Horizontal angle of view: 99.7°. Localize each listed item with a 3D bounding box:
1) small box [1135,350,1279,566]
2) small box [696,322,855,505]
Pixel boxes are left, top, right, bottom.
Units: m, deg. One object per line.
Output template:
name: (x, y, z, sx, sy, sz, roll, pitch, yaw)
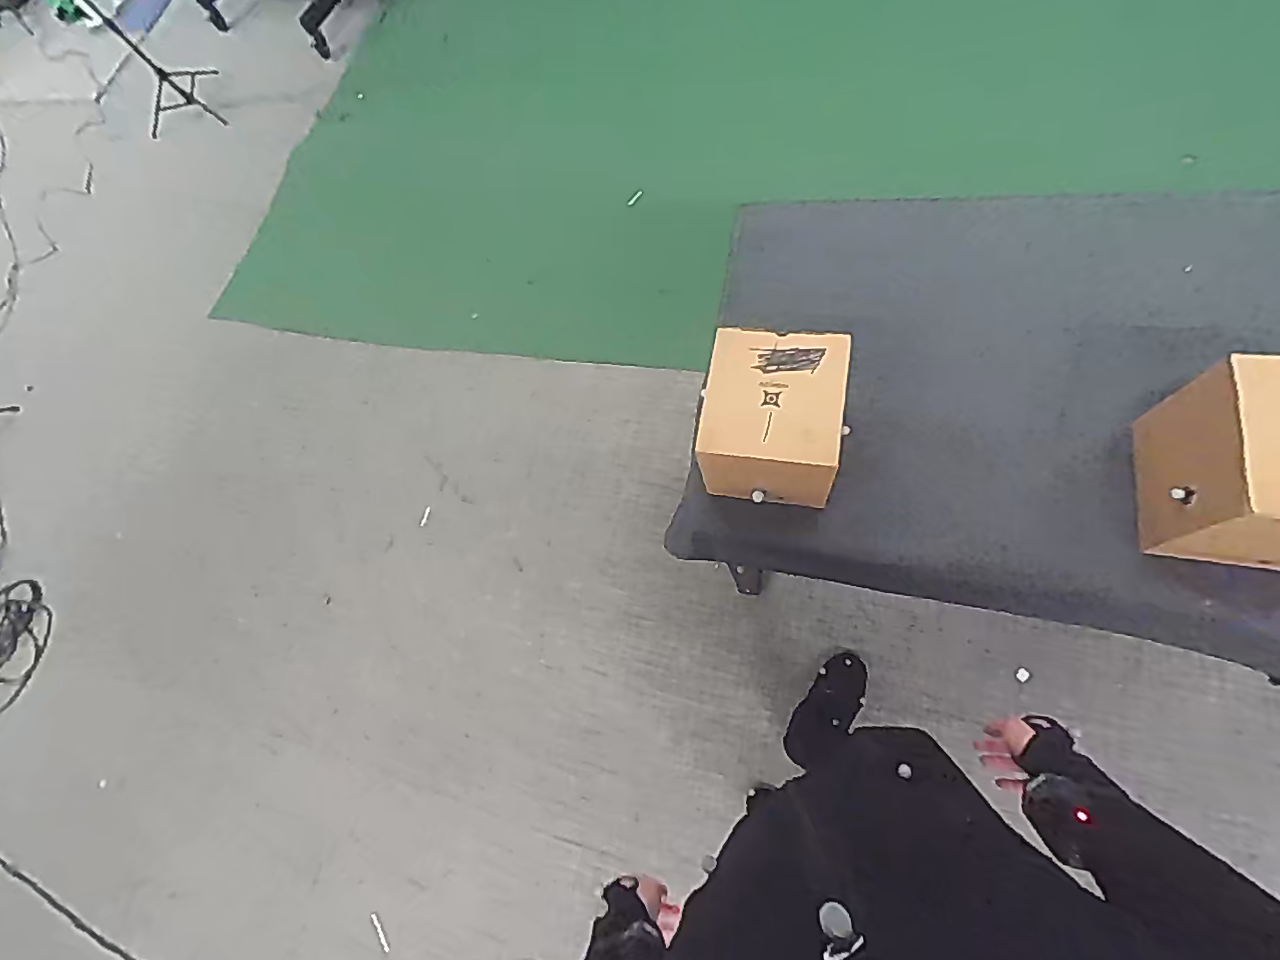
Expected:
small box: (0.675, -0.013, 0.571, 0.168, 0.176, 0.179, 8, 71, 15)
small box: (0.177, -0.082, 0.713, 0.168, 0.176, 0.179, 8, 73, 16)
